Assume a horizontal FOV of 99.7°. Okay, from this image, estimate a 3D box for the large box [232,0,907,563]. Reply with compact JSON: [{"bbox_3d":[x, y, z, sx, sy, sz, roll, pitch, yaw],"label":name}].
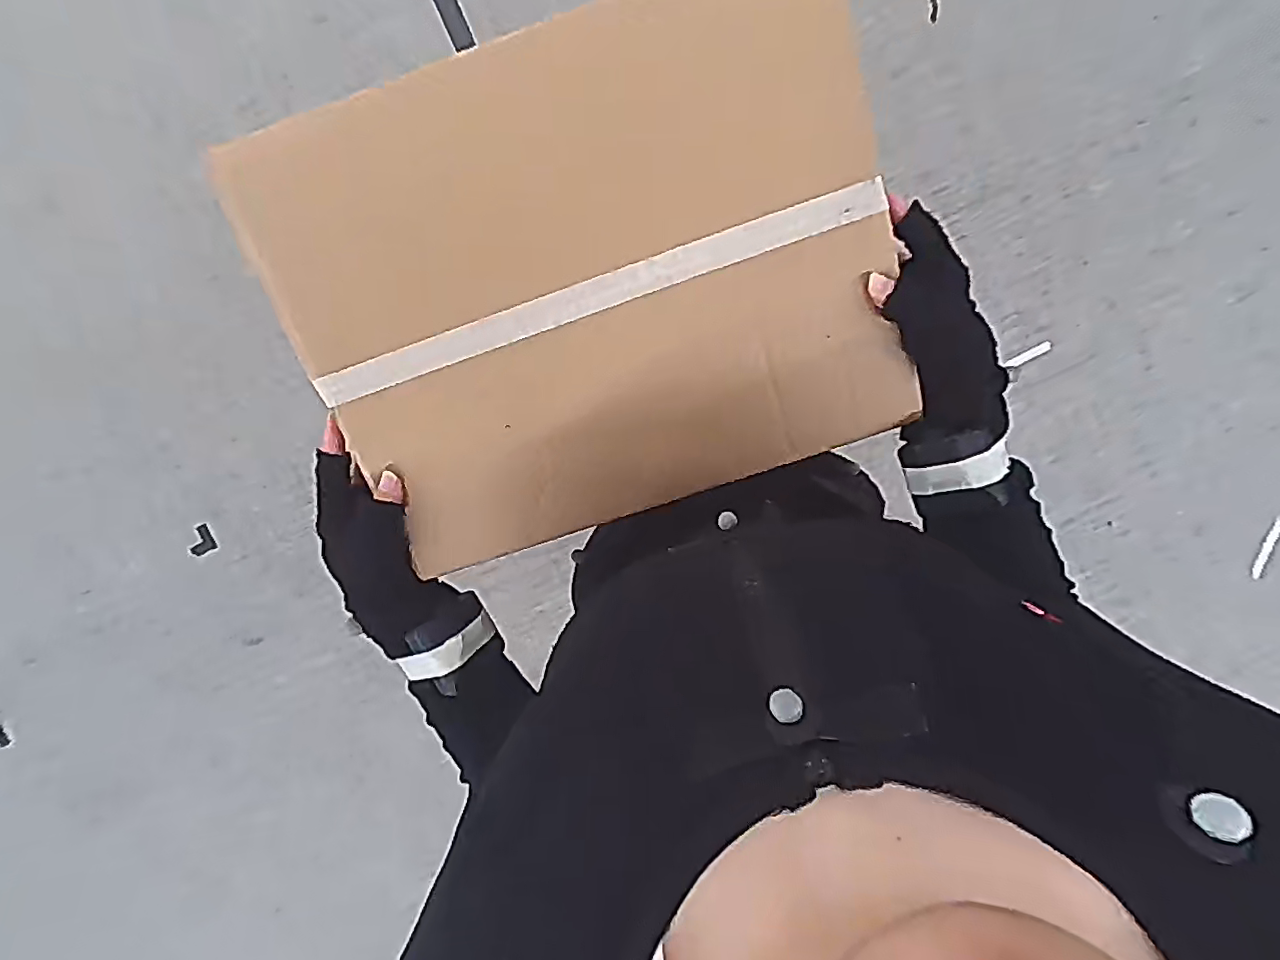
[{"bbox_3d":[-0.038,-0.174,0.520,0.408,0.320,0.320,-18,108,4],"label":"large box"}]
